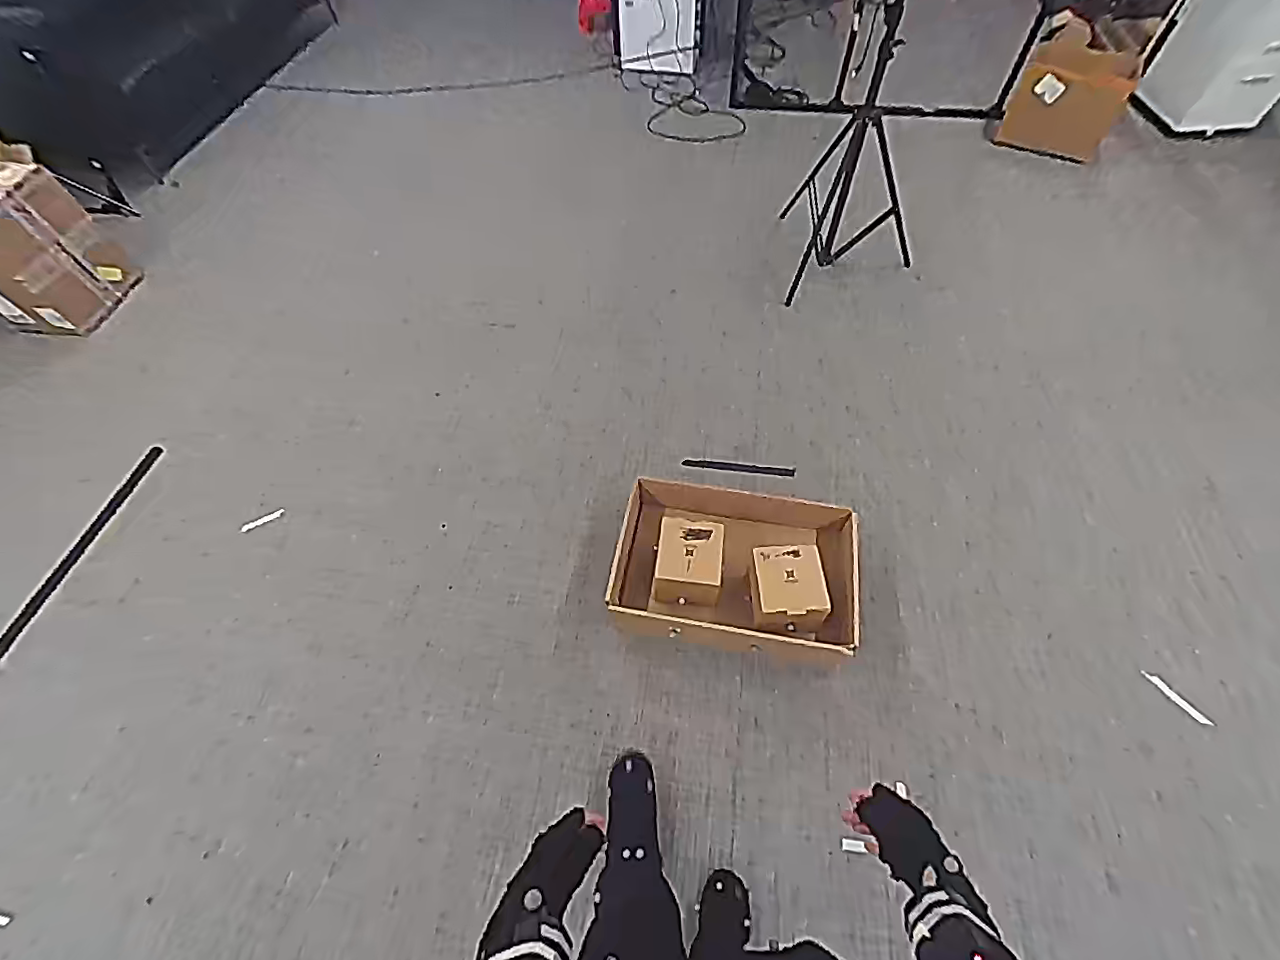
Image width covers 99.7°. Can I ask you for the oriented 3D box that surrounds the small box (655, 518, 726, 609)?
[{"bbox_3d":[0.132,0.226,1.445,0.168,0.176,0.179,6,58,5],"label":"small box"}]
